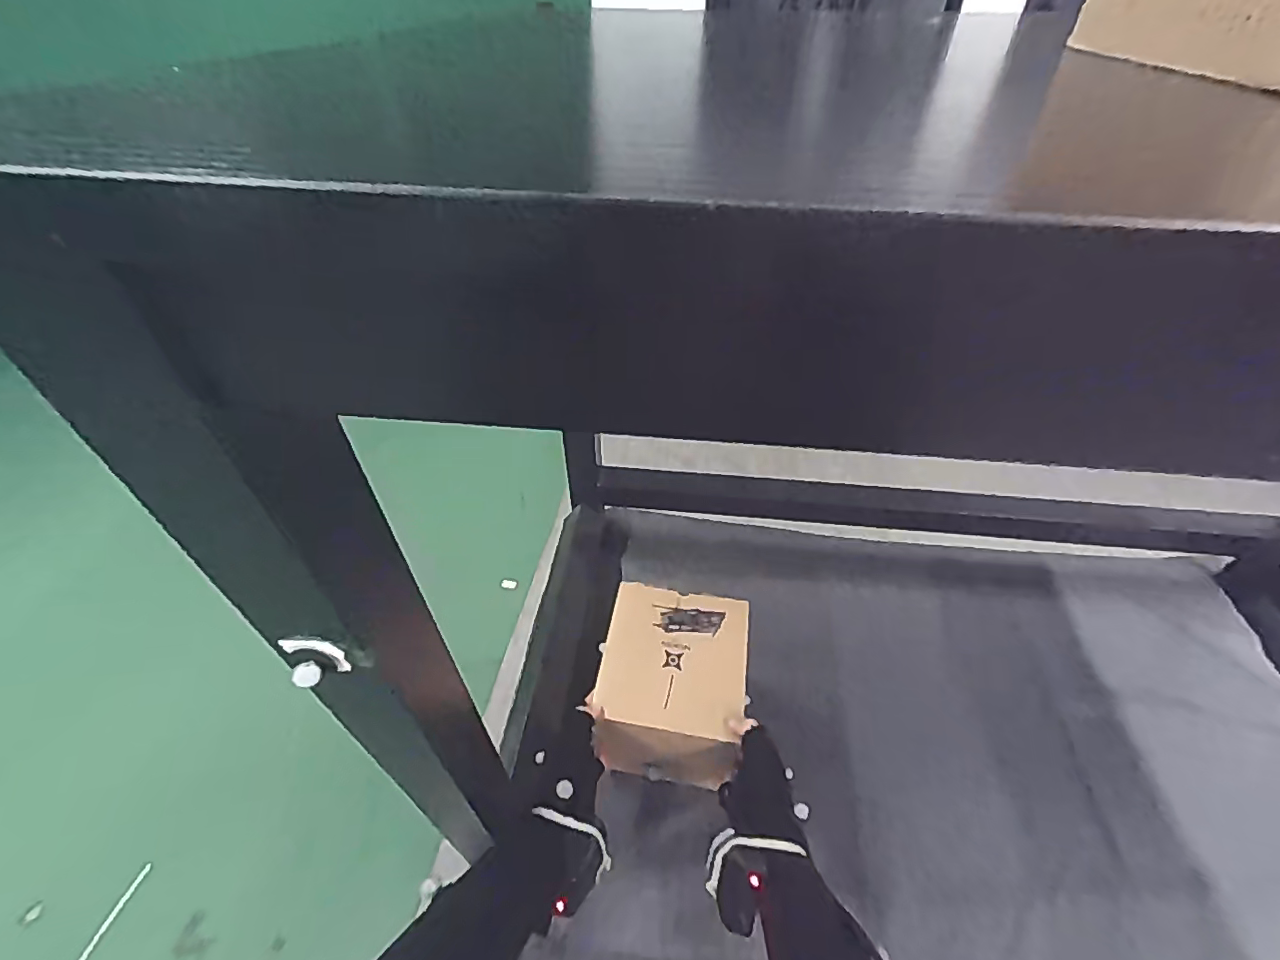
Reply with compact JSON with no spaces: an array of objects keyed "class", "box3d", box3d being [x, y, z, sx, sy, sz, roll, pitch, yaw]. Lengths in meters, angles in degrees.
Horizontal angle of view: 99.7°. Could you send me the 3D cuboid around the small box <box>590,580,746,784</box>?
[{"class":"small box","box3d":[0.037,0.258,0.691,0.168,0.176,0.179,8,46,7]}]
